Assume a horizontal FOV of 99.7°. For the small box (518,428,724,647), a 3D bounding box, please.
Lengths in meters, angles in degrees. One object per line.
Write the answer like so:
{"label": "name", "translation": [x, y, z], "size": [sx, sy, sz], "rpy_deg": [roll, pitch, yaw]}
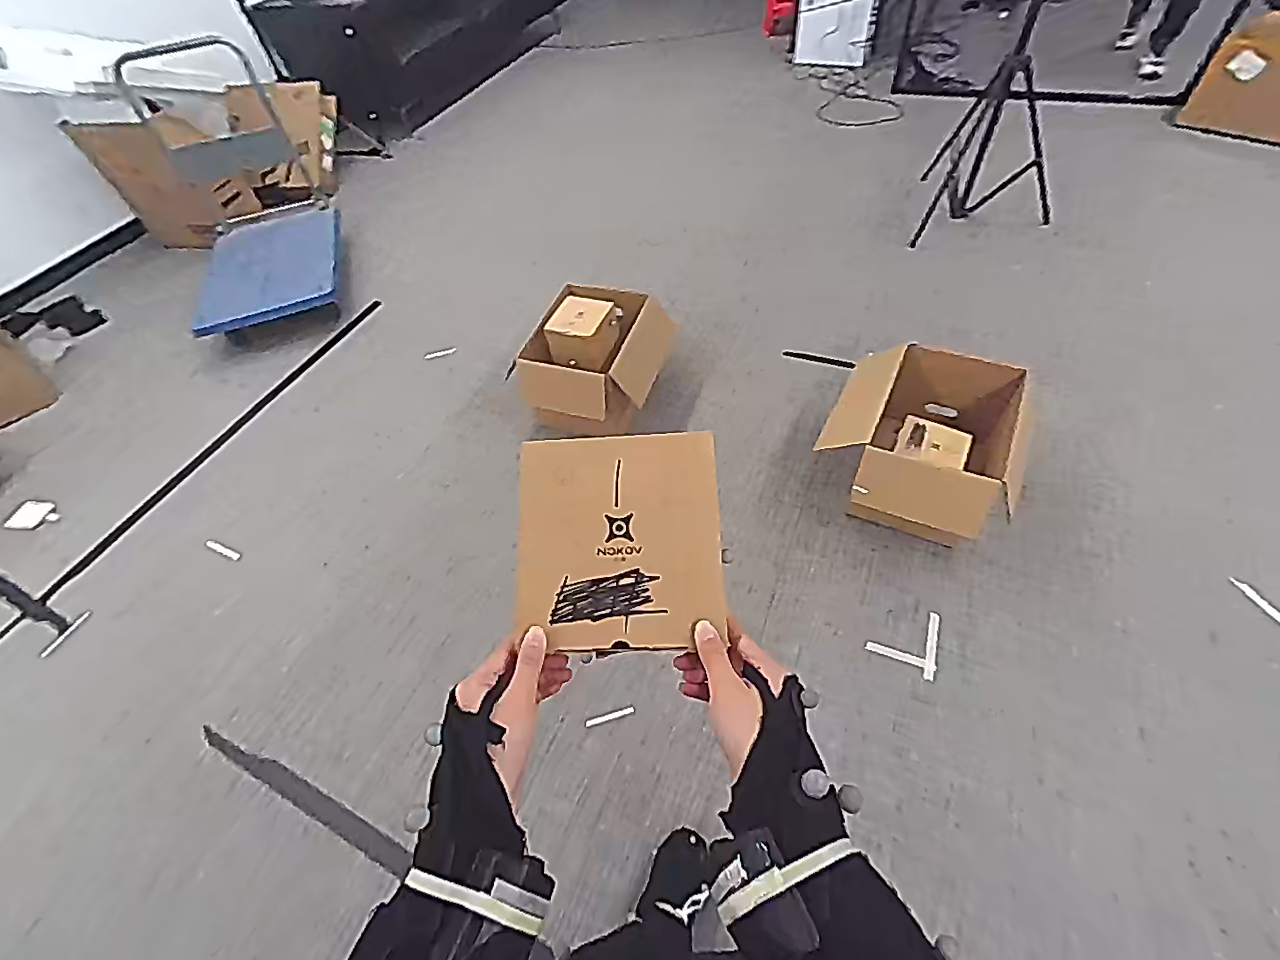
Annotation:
{"label": "small box", "translation": [-0.009, 0.064, 0.514], "size": [0.168, 0.176, 0.179], "rpy_deg": [-3, 74, 4]}

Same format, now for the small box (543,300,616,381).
{"label": "small box", "translation": [-0.188, -0.452, 1.750], "size": [0.168, 0.176, 0.179], "rpy_deg": [14, 57, 18]}
